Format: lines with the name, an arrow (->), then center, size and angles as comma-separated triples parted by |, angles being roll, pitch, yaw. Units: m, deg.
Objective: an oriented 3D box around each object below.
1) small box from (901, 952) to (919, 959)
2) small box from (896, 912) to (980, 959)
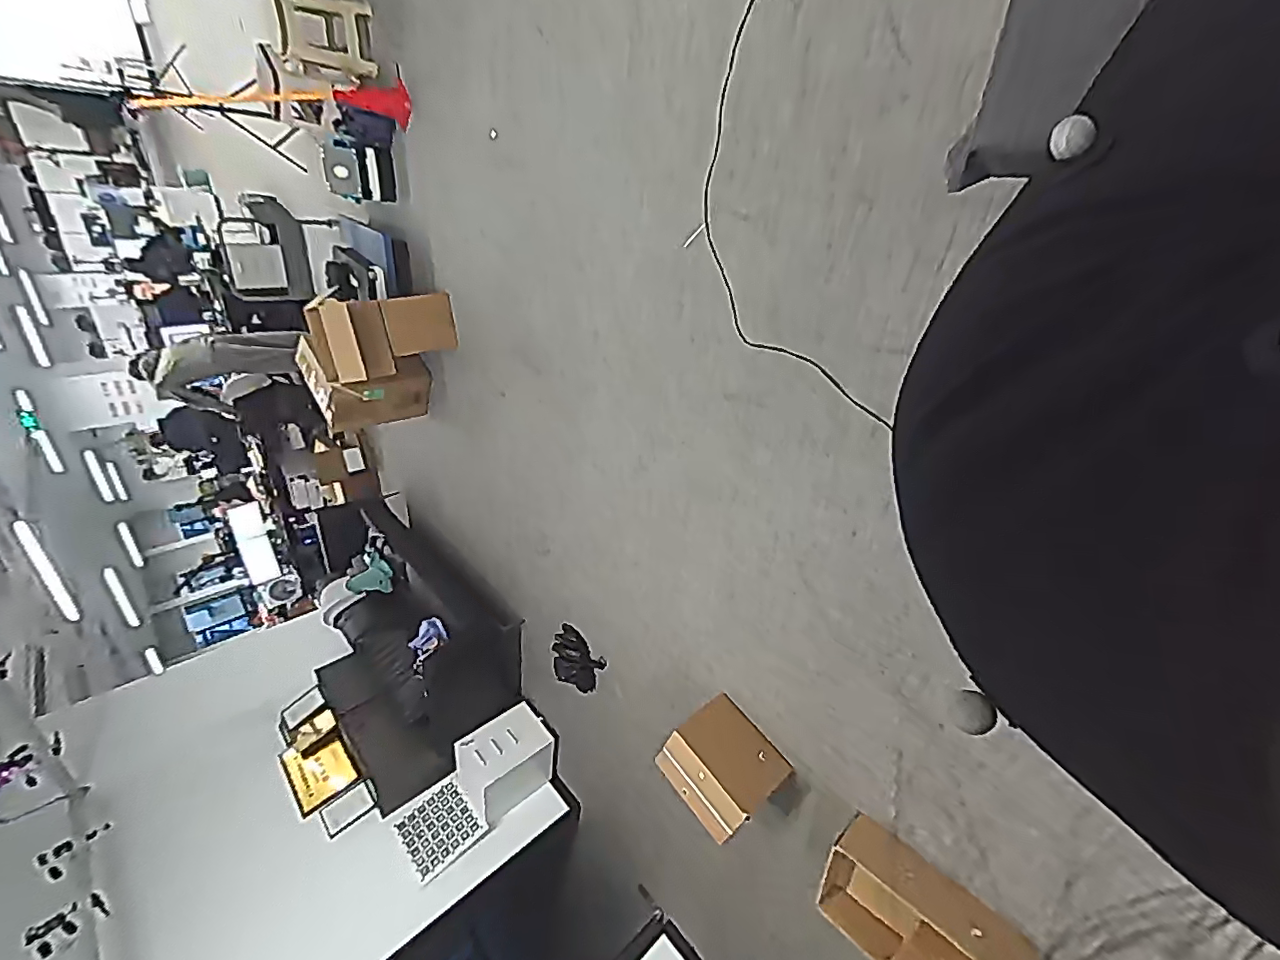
small box -> 0.844, 1.615, 1.649 | 0.179, 0.176, 0.168 | 34, 129, 39
small box -> 0.964, 1.569, 1.752 | 0.179, 0.176, 0.168 | 35, 129, 39
